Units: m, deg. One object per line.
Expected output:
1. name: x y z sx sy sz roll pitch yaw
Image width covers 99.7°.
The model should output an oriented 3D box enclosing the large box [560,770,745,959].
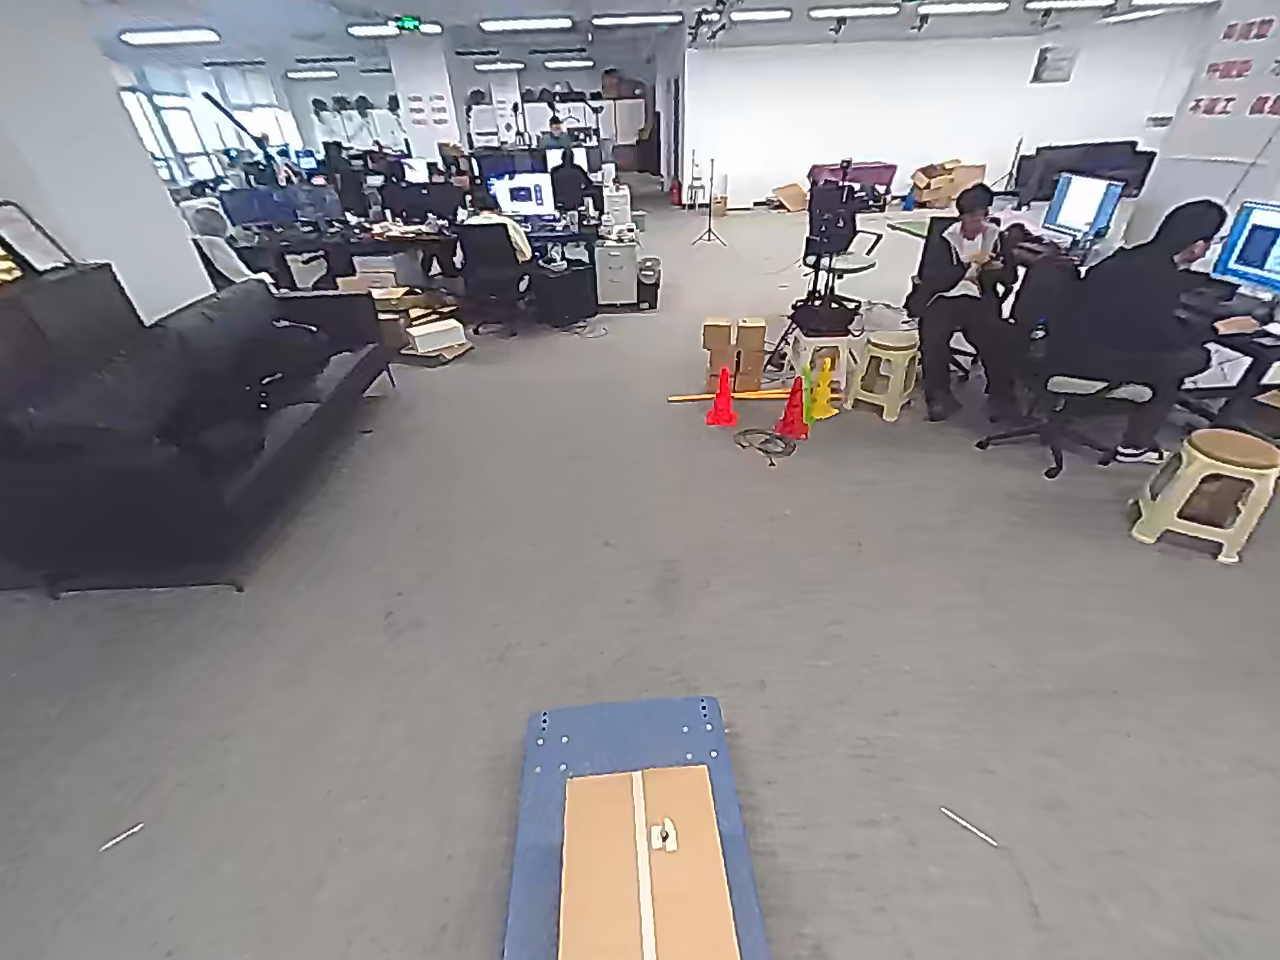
1. large box: 0.020 0.877 1.086 0.320 0.320 0.408 -4 33 -2
